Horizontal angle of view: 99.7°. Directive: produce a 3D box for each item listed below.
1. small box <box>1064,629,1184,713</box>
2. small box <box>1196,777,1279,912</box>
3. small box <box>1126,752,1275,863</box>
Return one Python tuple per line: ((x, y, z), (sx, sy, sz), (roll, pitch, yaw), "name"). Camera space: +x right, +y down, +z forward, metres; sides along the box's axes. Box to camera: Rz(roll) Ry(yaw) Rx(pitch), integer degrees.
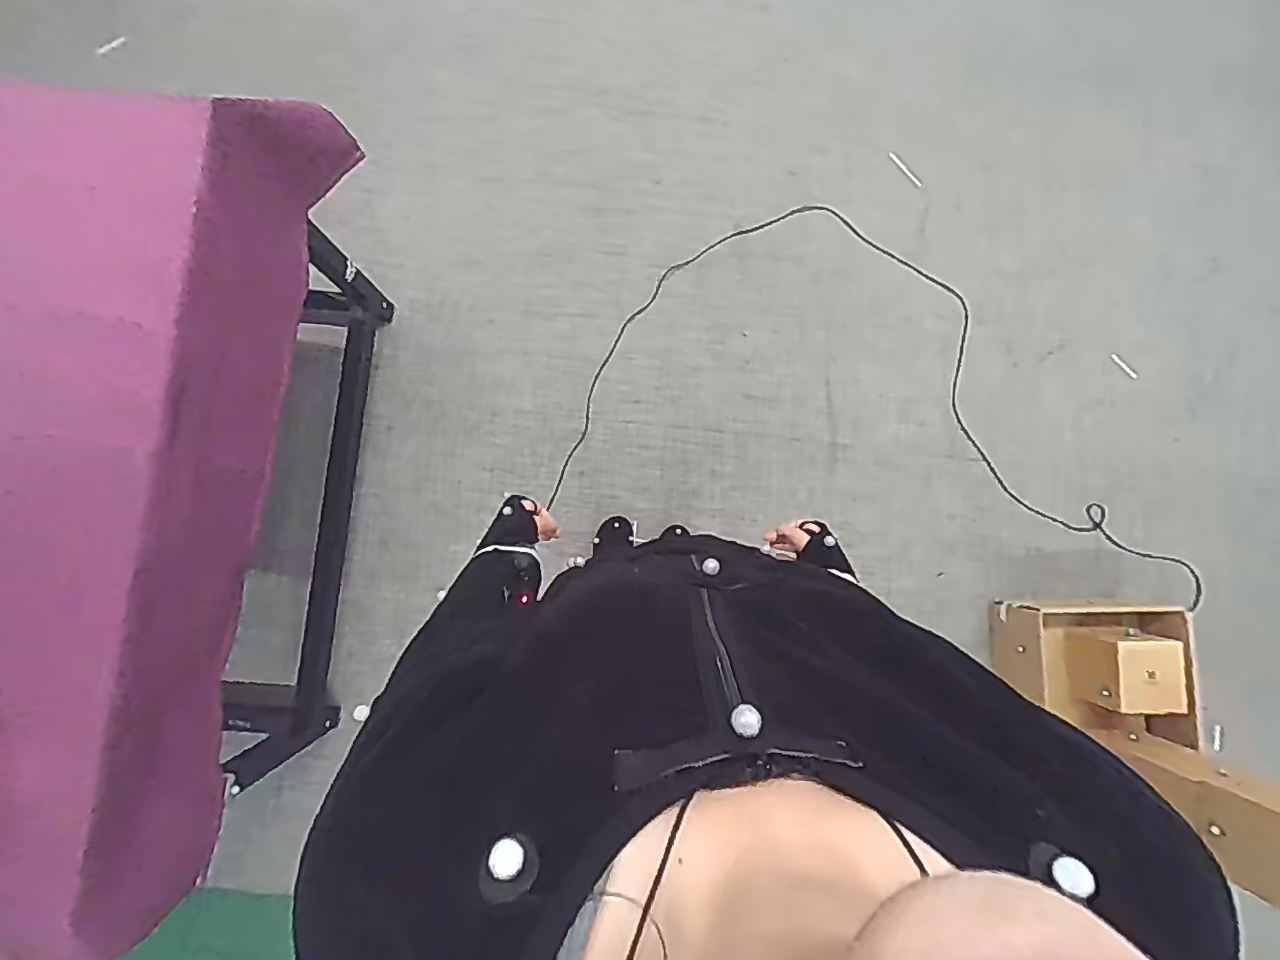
((1.245, 0.487, 1.403), (0.168, 0.176, 0.179), (0, 86, 0), "small box")
((1.247, 0.713, 1.053), (0.168, 0.176, 0.179), (6, 85, -1), "small box")
((1.255, 0.730, 1.218), (0.179, 0.176, 0.168), (2, 84, -1), "small box")
